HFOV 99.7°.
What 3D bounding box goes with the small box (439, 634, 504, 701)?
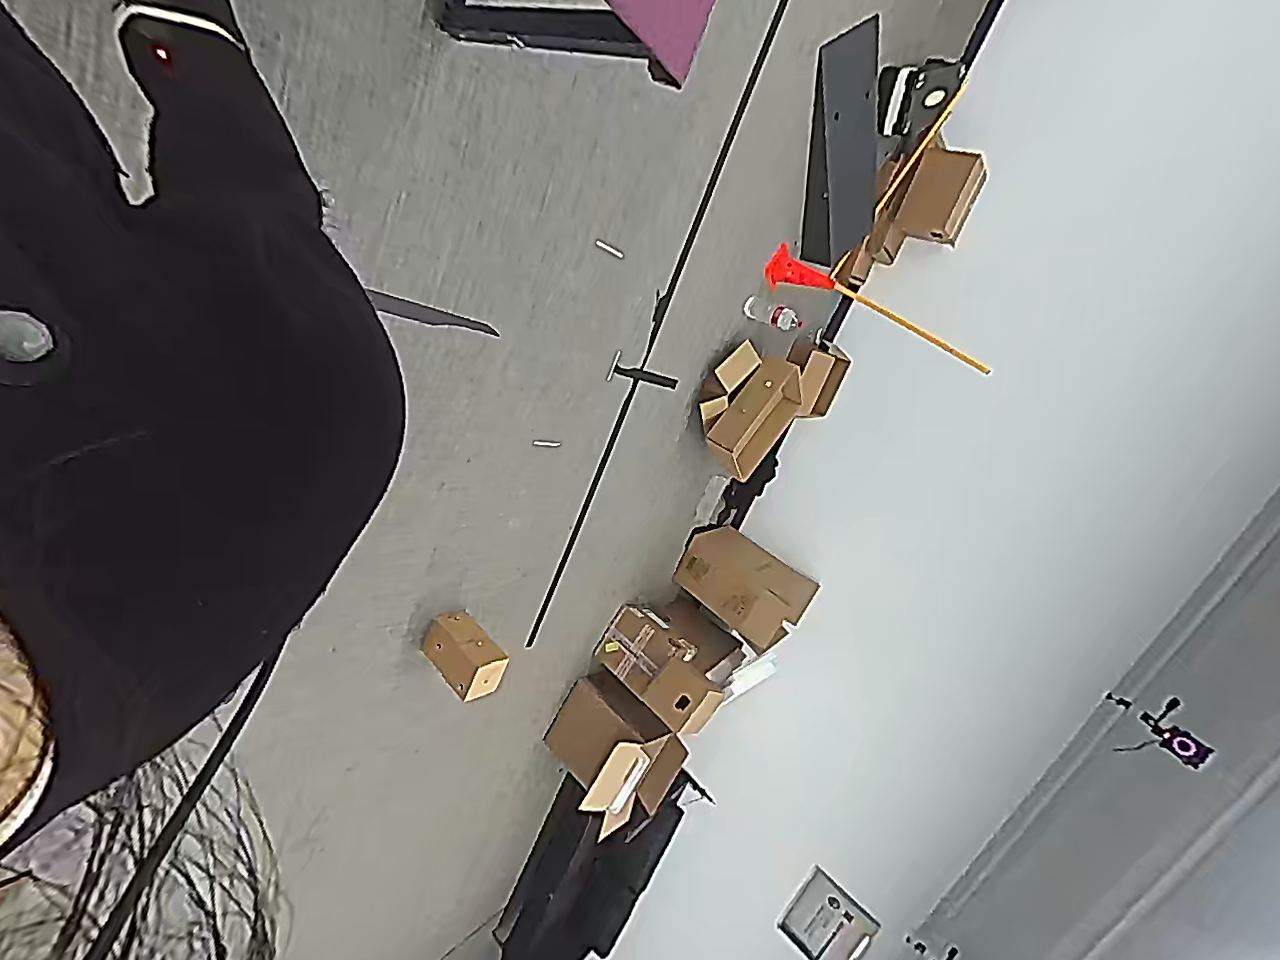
[{"bbox_3d":[-0.697,0.767,2.224,0.168,0.176,0.179,4,114,-57],"label":"small box"}]
